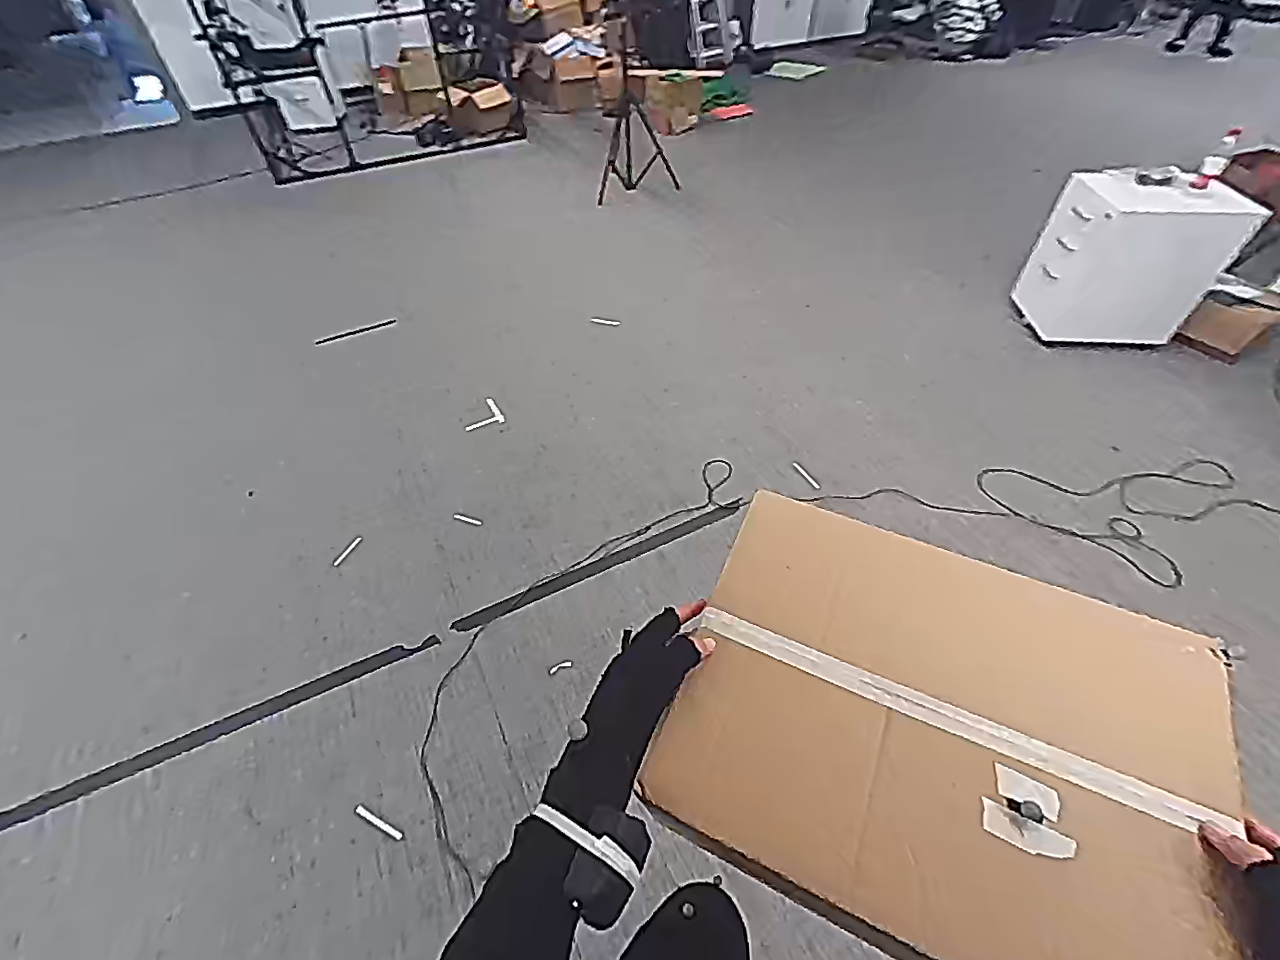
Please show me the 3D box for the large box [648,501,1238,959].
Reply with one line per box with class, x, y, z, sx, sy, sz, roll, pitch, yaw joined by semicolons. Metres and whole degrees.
large box;0.254;0.280;0.572;0.408;0.320;0.320;19;59;18
